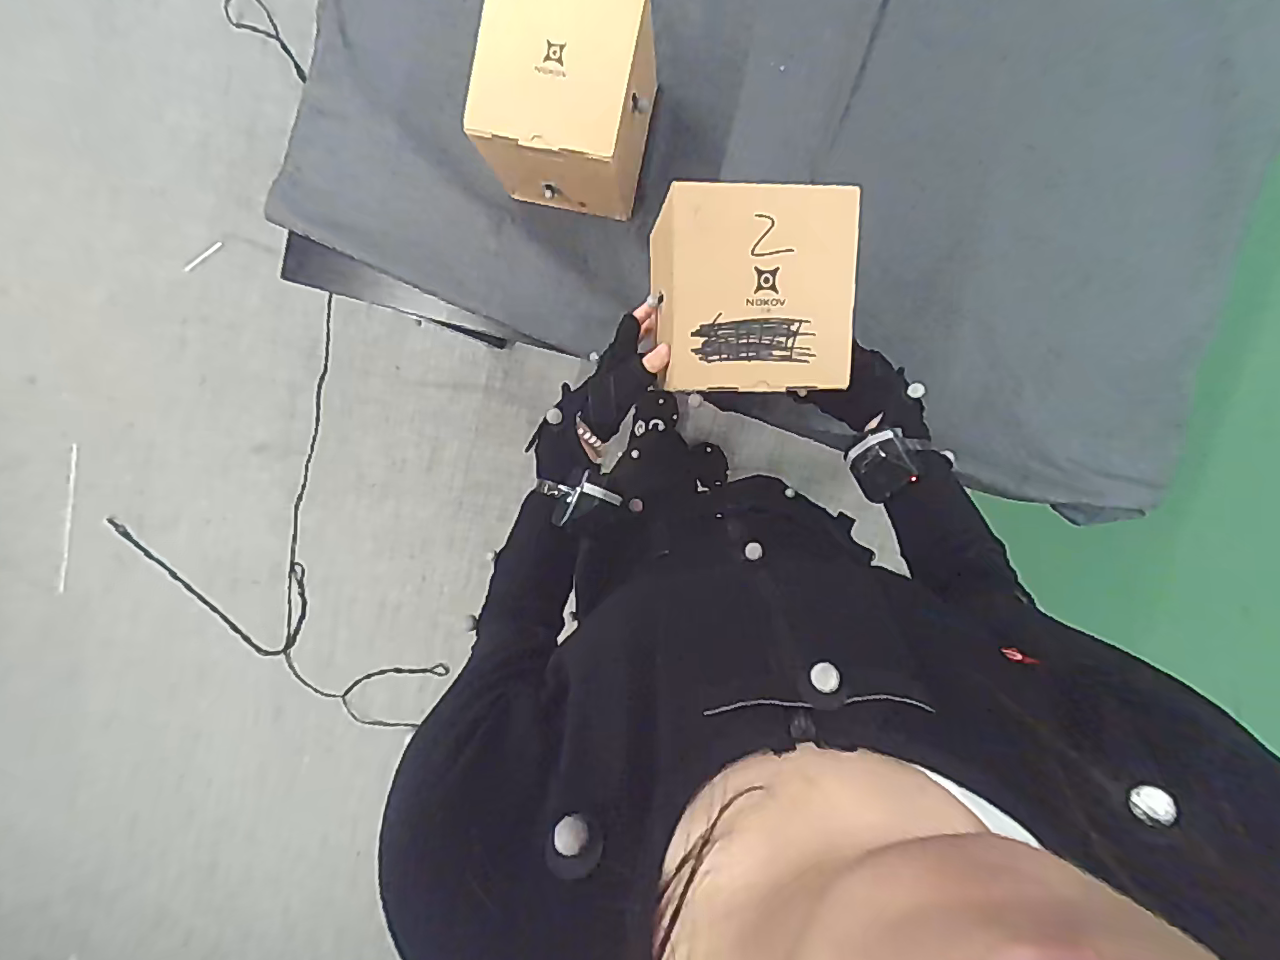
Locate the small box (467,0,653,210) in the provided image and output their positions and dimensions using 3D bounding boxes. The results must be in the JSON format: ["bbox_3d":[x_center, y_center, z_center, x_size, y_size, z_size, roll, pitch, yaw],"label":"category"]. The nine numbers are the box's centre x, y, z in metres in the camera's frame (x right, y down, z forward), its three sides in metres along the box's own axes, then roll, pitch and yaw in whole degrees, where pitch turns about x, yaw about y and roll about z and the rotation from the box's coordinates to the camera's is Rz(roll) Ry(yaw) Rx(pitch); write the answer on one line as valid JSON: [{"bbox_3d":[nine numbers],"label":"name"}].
[{"bbox_3d":[-0.081,-0.453,0.640,0.168,0.176,0.179,13,98,3],"label":"small box"}]
